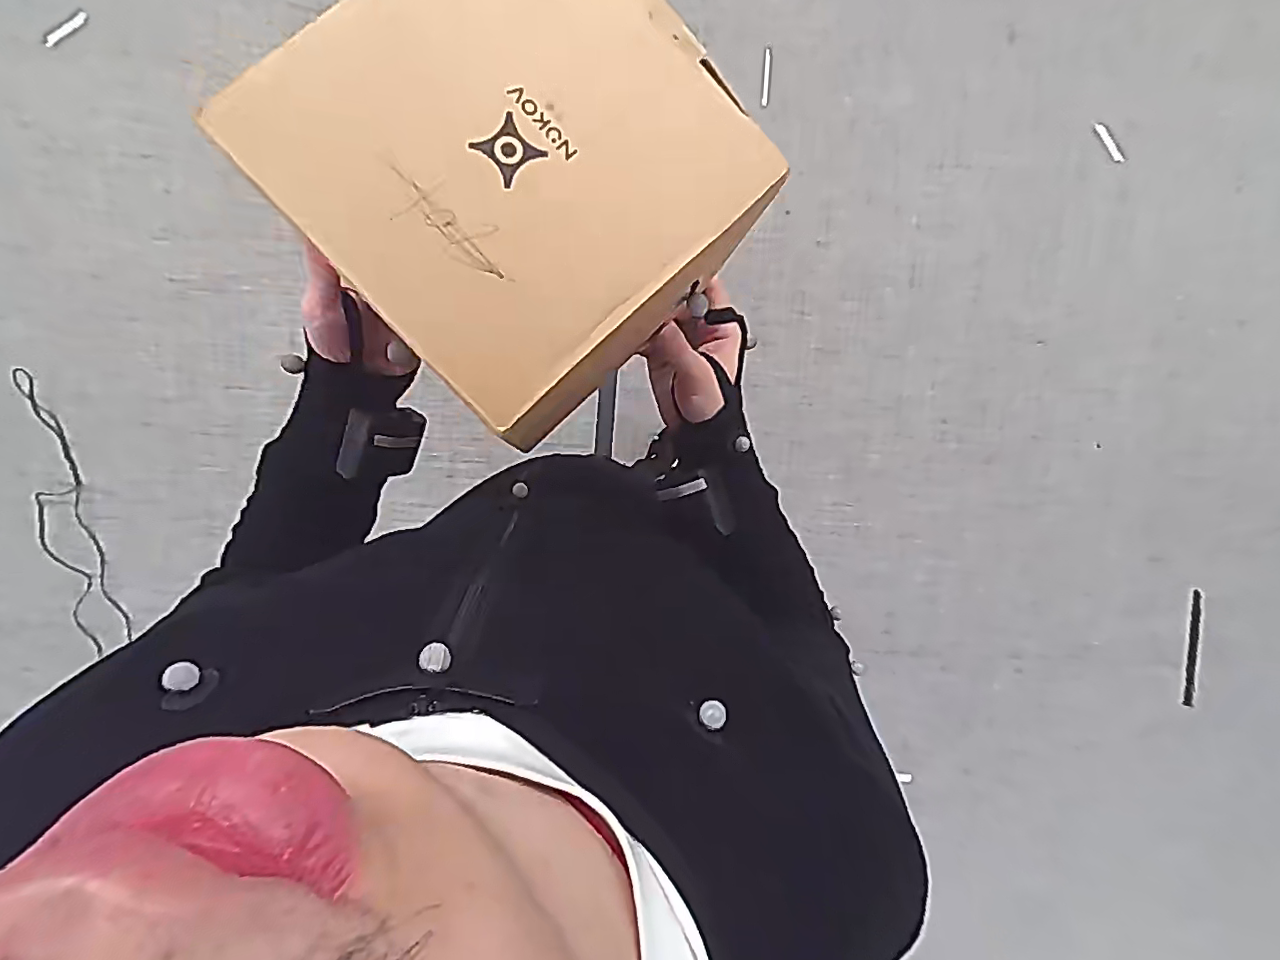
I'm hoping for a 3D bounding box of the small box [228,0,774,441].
[{"bbox_3d":[-0.063,-0.140,0.312,0.179,0.176,0.168,-44,95,-5],"label":"small box"}]
